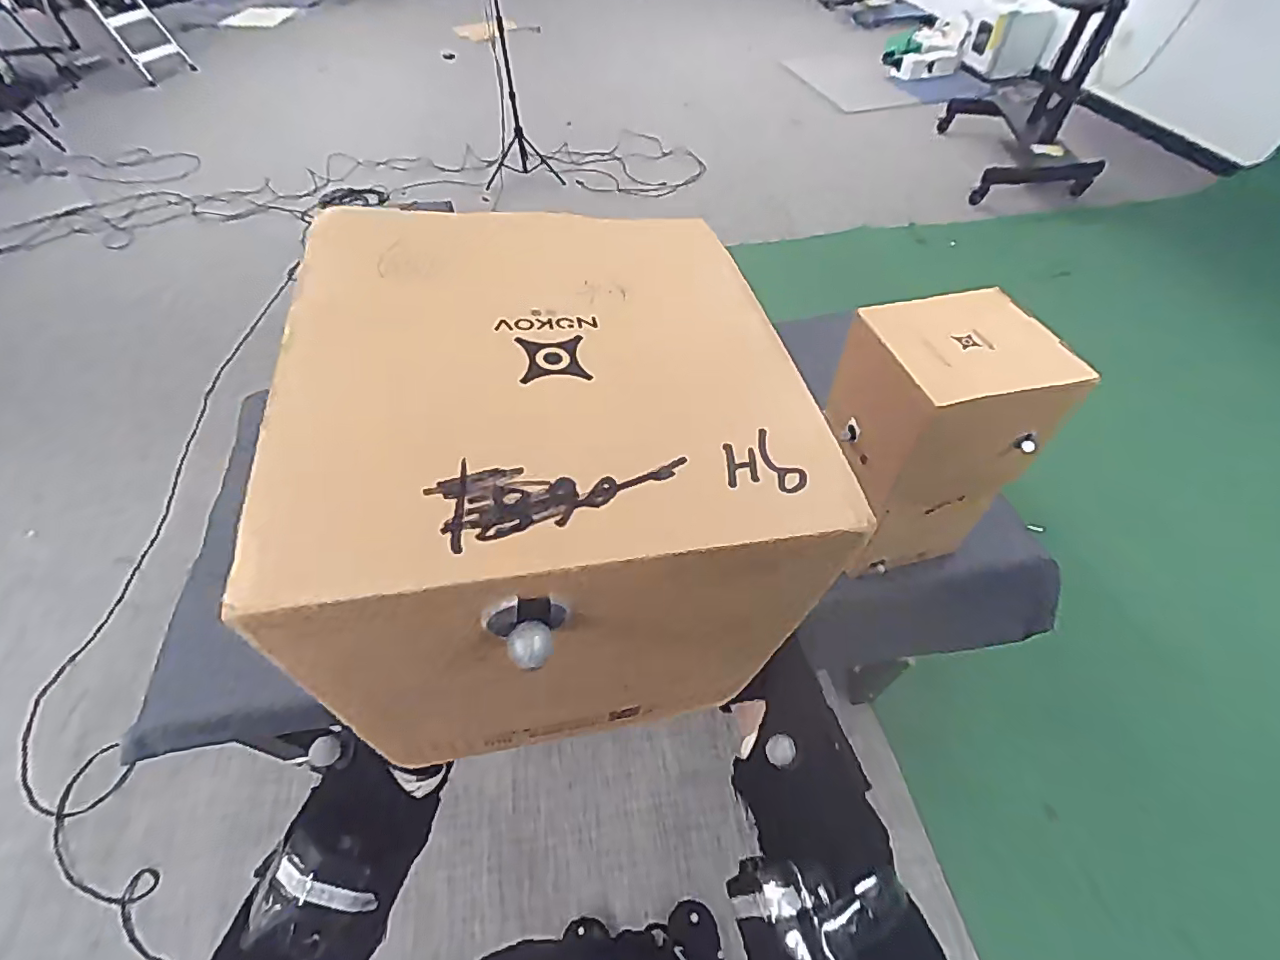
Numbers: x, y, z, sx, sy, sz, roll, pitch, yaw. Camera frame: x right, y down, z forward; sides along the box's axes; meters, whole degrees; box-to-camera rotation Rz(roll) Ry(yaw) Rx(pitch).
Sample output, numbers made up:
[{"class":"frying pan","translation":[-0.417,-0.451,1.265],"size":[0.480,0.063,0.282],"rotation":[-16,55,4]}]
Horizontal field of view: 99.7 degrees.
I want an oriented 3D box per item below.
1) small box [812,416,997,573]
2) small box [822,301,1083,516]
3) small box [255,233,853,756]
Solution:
[{"class":"small box","translation":[0.343,0.015,0.764],"size":[0.168,0.176,0.179],"rotation":[-12,51,-8]},{"class":"small box","translation":[0.340,-0.080,0.632],"size":[0.179,0.176,0.168],"rotation":[-11,50,-6]},{"class":"small box","translation":[-0.040,0.006,0.258],"size":[0.168,0.176,0.179],"rotation":[-6,52,-13]}]
